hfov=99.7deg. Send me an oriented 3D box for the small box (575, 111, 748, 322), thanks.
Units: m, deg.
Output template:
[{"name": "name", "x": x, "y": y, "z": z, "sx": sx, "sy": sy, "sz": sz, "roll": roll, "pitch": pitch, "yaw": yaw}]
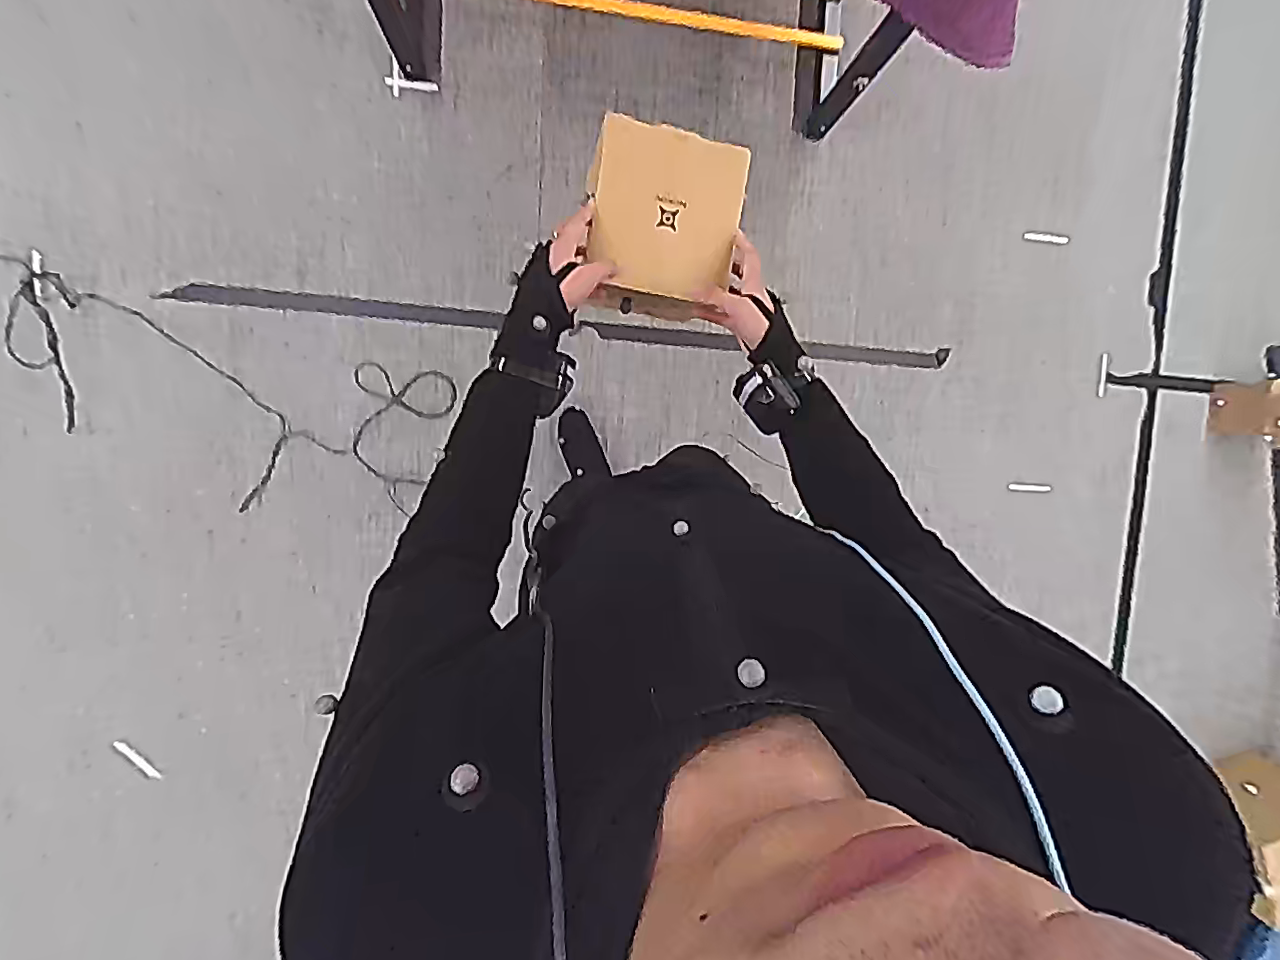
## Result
[{"name": "small box", "x": 0.014, "y": -0.303, "z": 0.668, "sx": 0.168, "sy": 0.176, "sz": 0.179, "roll": 7, "pitch": 97, "yaw": -12}]
